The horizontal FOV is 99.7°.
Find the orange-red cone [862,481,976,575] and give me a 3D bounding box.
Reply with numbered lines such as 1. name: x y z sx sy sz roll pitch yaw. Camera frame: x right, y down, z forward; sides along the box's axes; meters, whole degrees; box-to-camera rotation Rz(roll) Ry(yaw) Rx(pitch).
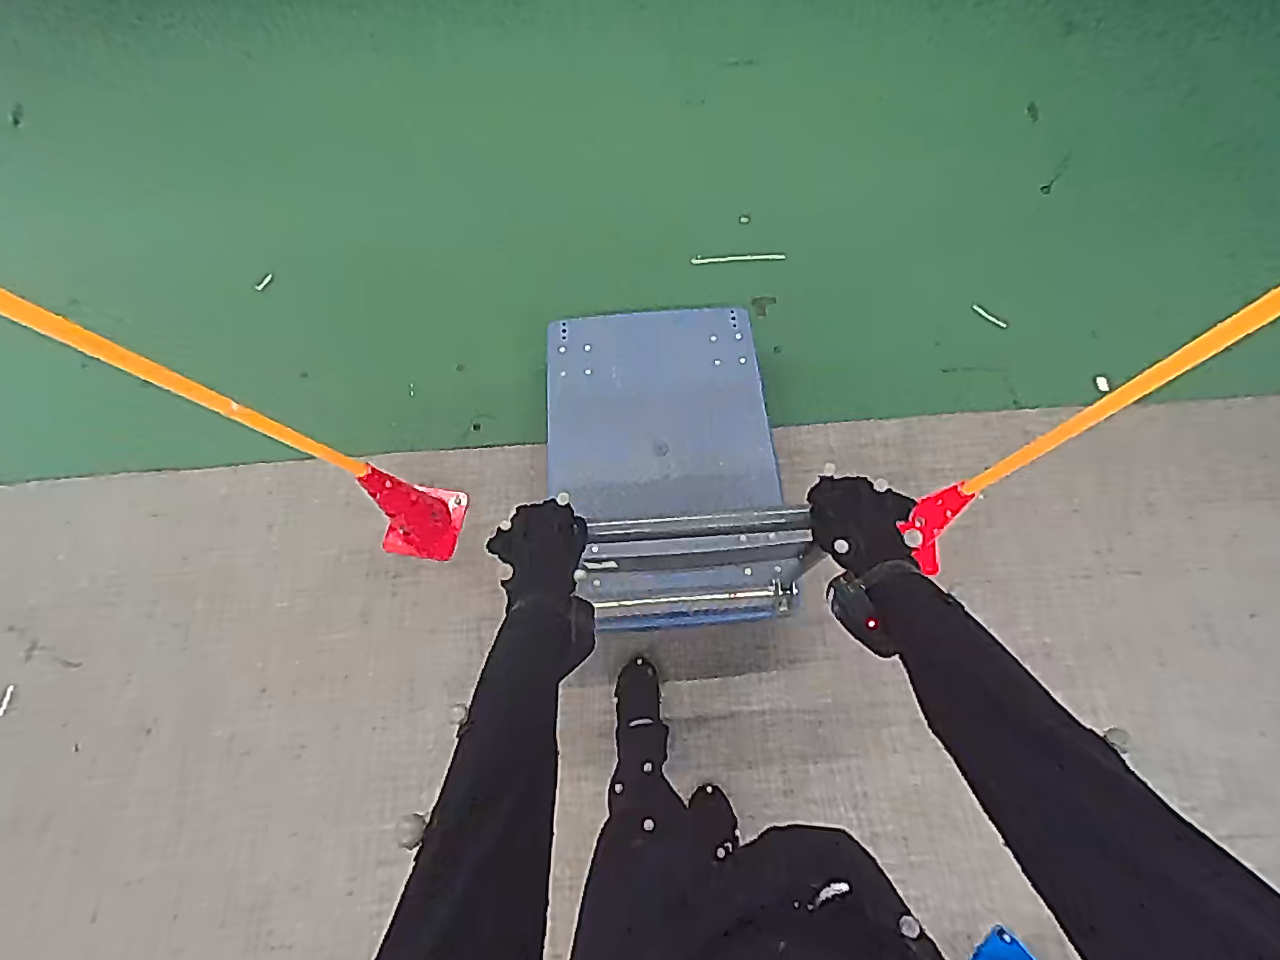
1. orange-red cone: 0.690 0.086 1.288 0.198 0.360 0.199 6 69 5
